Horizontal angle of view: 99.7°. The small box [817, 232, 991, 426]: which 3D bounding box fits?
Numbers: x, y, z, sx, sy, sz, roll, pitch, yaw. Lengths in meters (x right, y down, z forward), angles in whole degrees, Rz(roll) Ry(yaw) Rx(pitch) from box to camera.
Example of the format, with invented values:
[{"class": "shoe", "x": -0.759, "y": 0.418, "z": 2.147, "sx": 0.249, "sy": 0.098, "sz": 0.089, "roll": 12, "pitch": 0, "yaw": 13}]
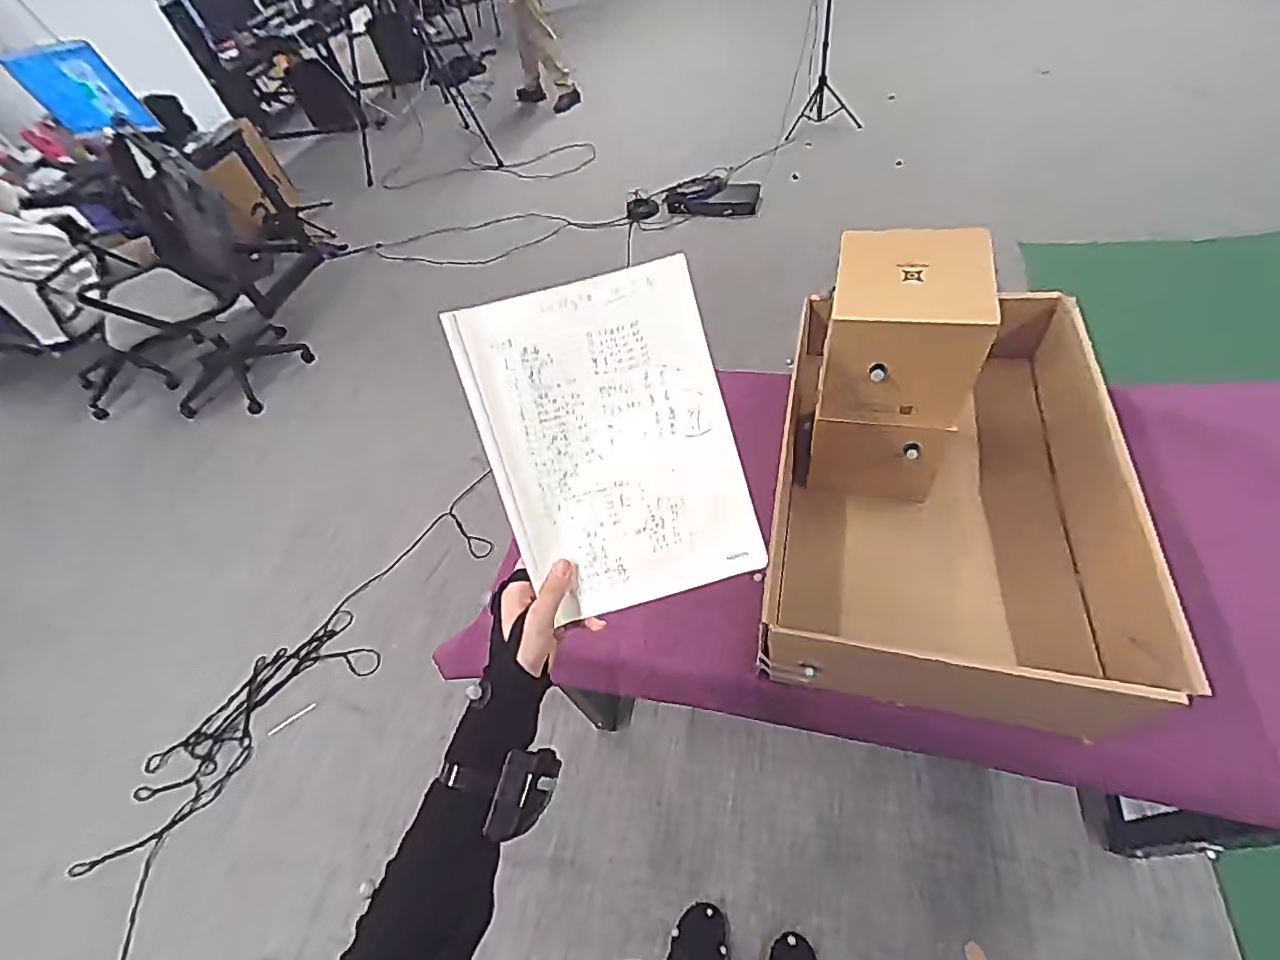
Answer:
[{"class": "small box", "x": 0.321, "y": -0.187, "z": 0.684, "sx": 0.168, "sy": 0.176, "sz": 0.179, "roll": 7, "pitch": 55, "yaw": 17}]
